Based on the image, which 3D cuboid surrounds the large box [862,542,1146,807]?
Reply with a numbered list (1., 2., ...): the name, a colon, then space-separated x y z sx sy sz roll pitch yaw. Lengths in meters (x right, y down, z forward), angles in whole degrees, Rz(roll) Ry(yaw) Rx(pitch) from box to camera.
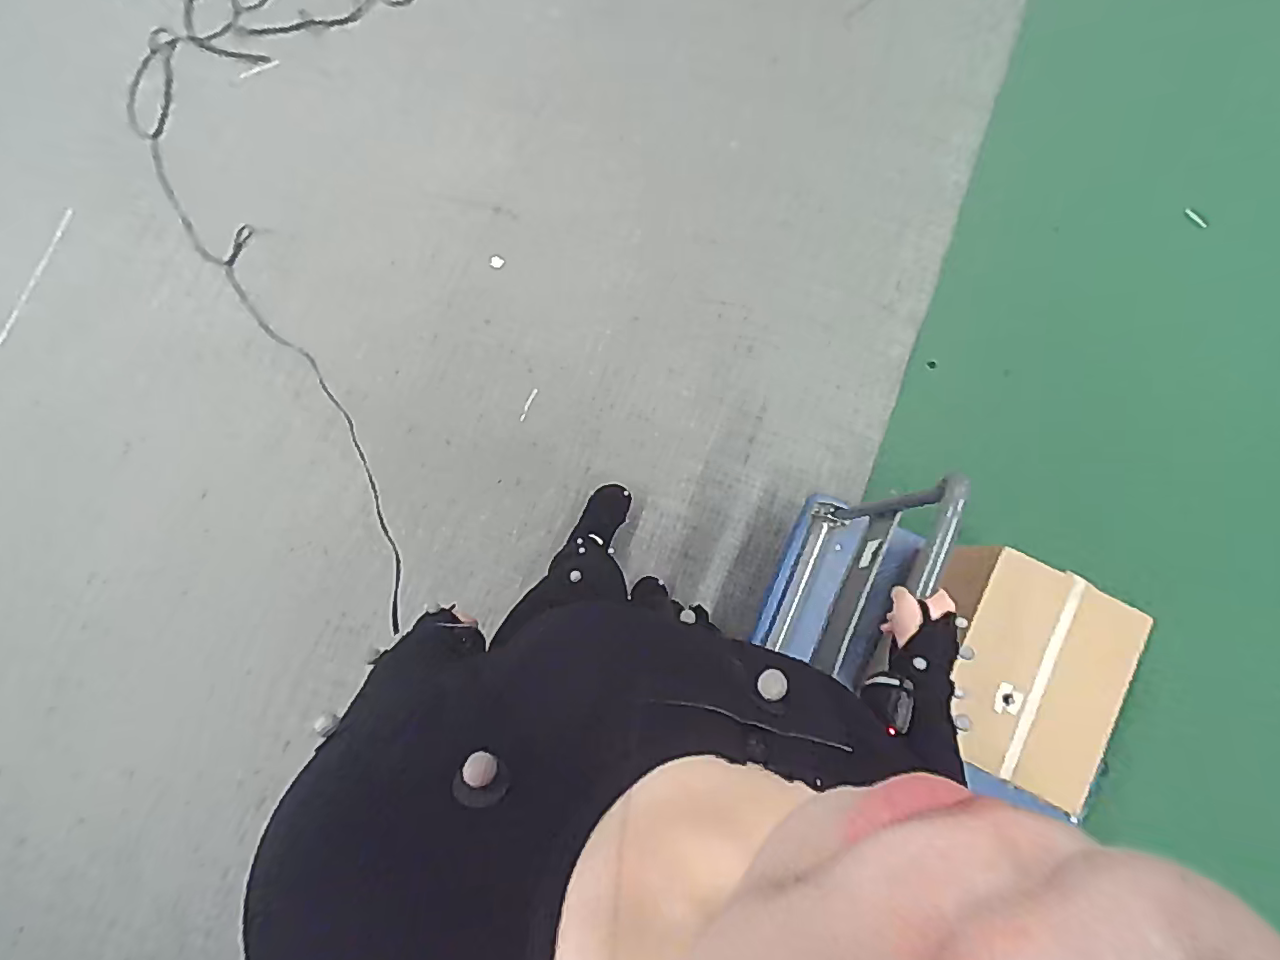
1. large box: 0.751 0.377 1.169 0.320 0.320 0.408 27 84 4
